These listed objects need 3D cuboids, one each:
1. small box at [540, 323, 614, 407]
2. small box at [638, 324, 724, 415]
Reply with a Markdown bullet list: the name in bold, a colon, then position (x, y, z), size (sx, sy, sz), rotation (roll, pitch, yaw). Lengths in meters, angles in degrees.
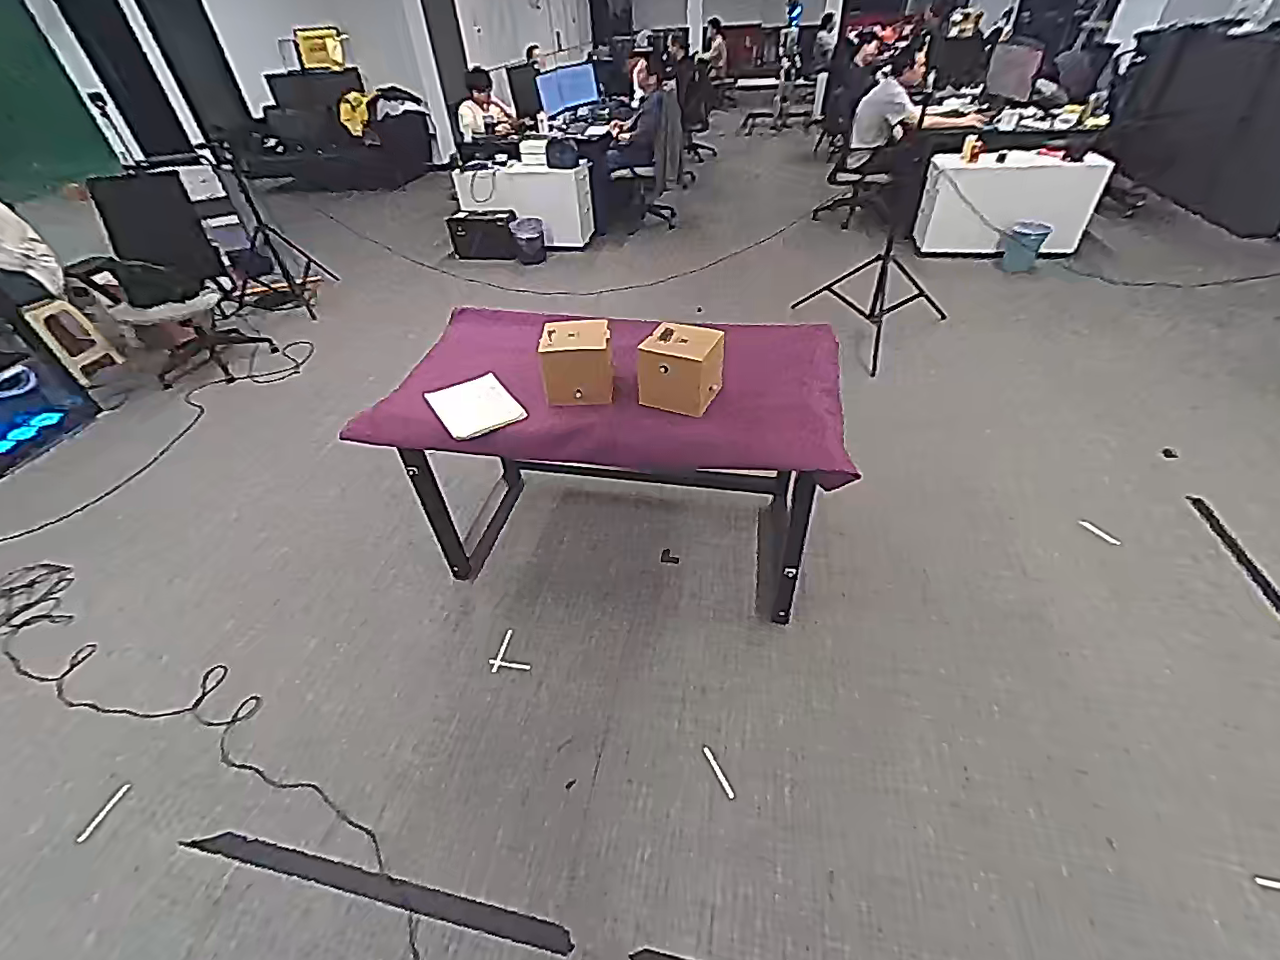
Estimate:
- **small box**: position (-0.165, -0.313, 1.474), size (0.179, 0.176, 0.168), rotation (-2, 40, 2)
- **small box**: position (0.109, -0.290, 1.420), size (0.179, 0.176, 0.168), rotation (16, 44, 22)
